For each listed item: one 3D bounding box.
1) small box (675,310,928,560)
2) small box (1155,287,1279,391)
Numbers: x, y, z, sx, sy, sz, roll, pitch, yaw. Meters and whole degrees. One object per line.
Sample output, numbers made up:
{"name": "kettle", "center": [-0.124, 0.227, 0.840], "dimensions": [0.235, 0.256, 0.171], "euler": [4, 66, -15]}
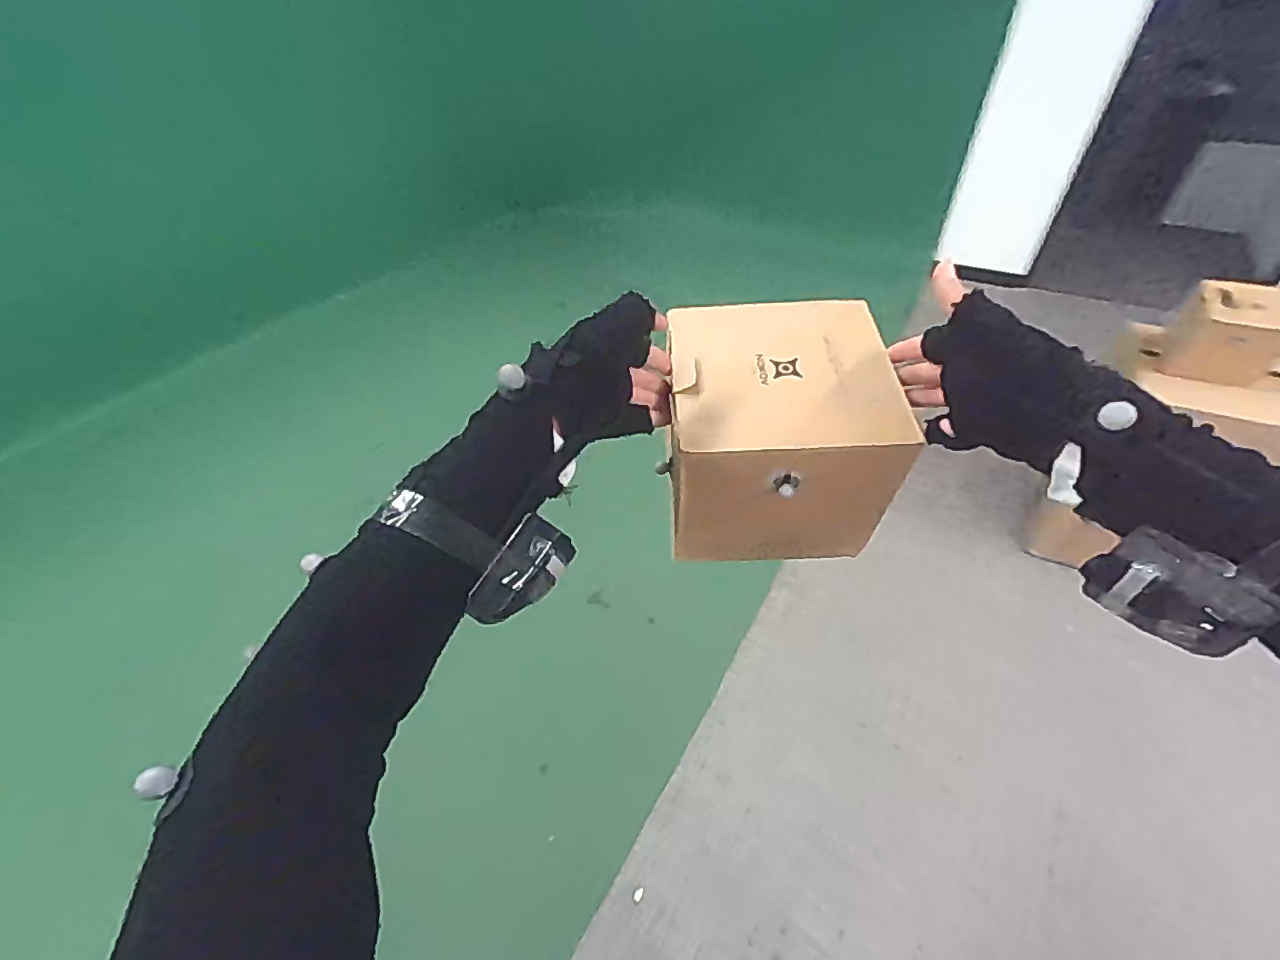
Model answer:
{"name": "small box", "center": [0.122, -0.035, 0.497], "dimensions": [0.179, 0.176, 0.168], "euler": [-1, 54, 0]}
{"name": "small box", "center": [1.412, -0.341, 1.324], "dimensions": [0.179, 0.176, 0.168], "euler": [19, 58, 20]}
